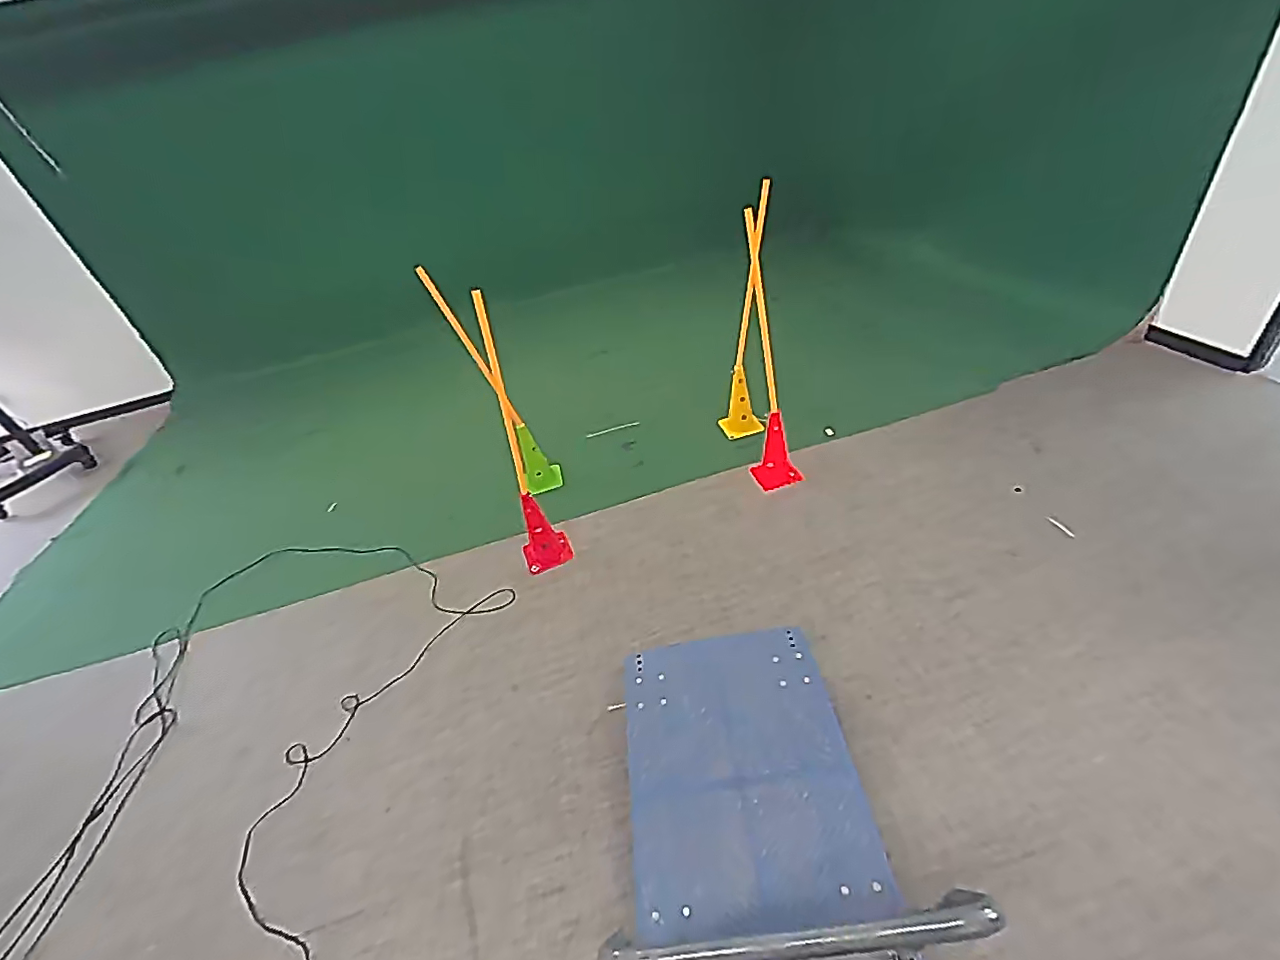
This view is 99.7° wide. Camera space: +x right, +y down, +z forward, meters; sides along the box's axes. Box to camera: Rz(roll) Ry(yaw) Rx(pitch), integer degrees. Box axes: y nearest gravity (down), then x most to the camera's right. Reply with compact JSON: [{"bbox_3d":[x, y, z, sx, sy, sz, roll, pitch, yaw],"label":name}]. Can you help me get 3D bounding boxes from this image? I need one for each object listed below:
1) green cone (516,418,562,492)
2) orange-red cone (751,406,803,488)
[{"bbox_3d":[-0.545,-0.148,2.724,0.200,0.368,0.202,-17,37,-5],"label":"green cone"},{"bbox_3d":[0.611,-0.172,2.441,0.198,0.360,0.199,-16,36,-5],"label":"orange-red cone"}]
